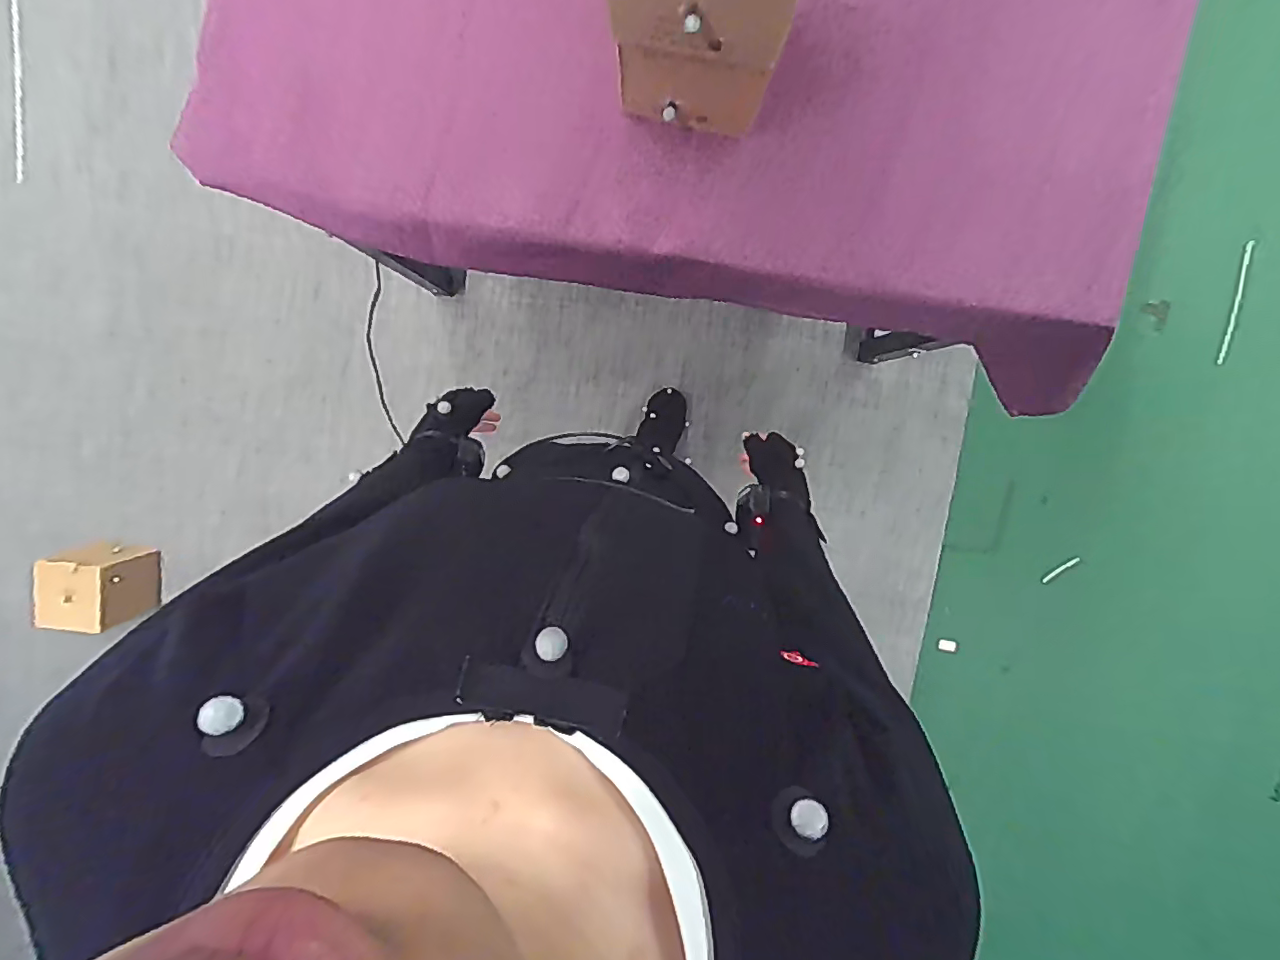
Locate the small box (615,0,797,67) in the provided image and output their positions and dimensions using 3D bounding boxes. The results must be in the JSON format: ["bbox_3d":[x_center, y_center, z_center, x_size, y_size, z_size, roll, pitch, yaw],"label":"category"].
[{"bbox_3d":[0.067,-0.495,0.441,0.168,0.176,0.179,11,96,0],"label":"small box"}]

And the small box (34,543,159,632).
[{"bbox_3d":[-1.416,0.276,1.418,0.168,0.176,0.179,7,96,-1],"label":"small box"}]

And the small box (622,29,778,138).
[{"bbox_3d":[0.074,-0.528,0.602,0.168,0.176,0.179,12,97,-1],"label":"small box"}]
